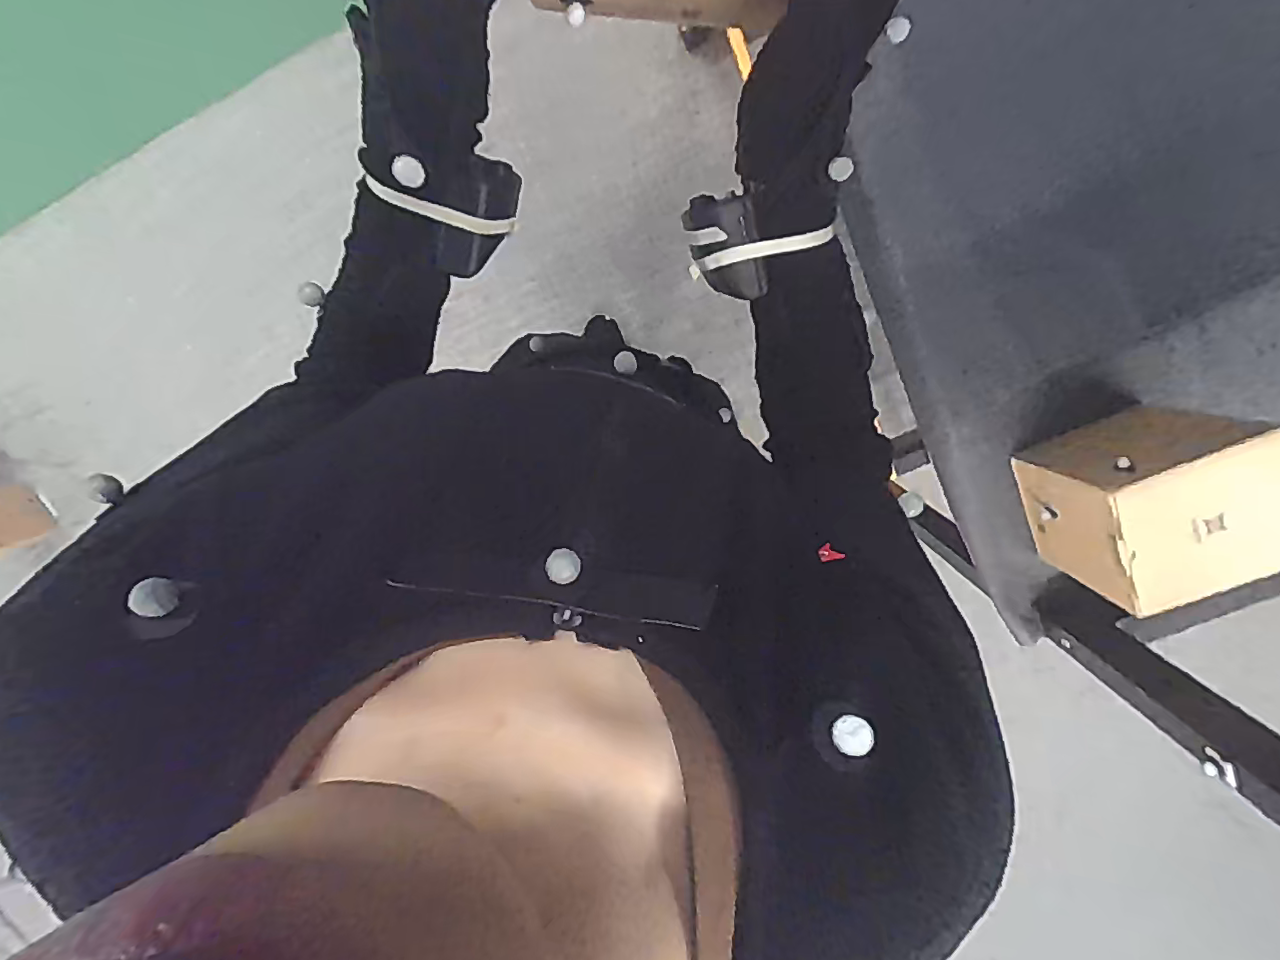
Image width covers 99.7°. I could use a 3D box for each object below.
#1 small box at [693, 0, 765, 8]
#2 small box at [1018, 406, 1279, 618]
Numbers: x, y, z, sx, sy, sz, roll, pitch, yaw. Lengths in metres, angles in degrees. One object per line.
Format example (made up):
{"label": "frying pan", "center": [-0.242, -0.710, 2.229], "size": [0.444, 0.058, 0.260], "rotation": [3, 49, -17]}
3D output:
{"label": "small box", "center": [0.008, -0.351, 0.242], "size": [0.168, 0.176, 0.179], "rotation": [4, 115, -1]}
{"label": "small box", "center": [0.602, 0.026, 0.641], "size": [0.179, 0.176, 0.168], "rotation": [-24, 104, 9]}
